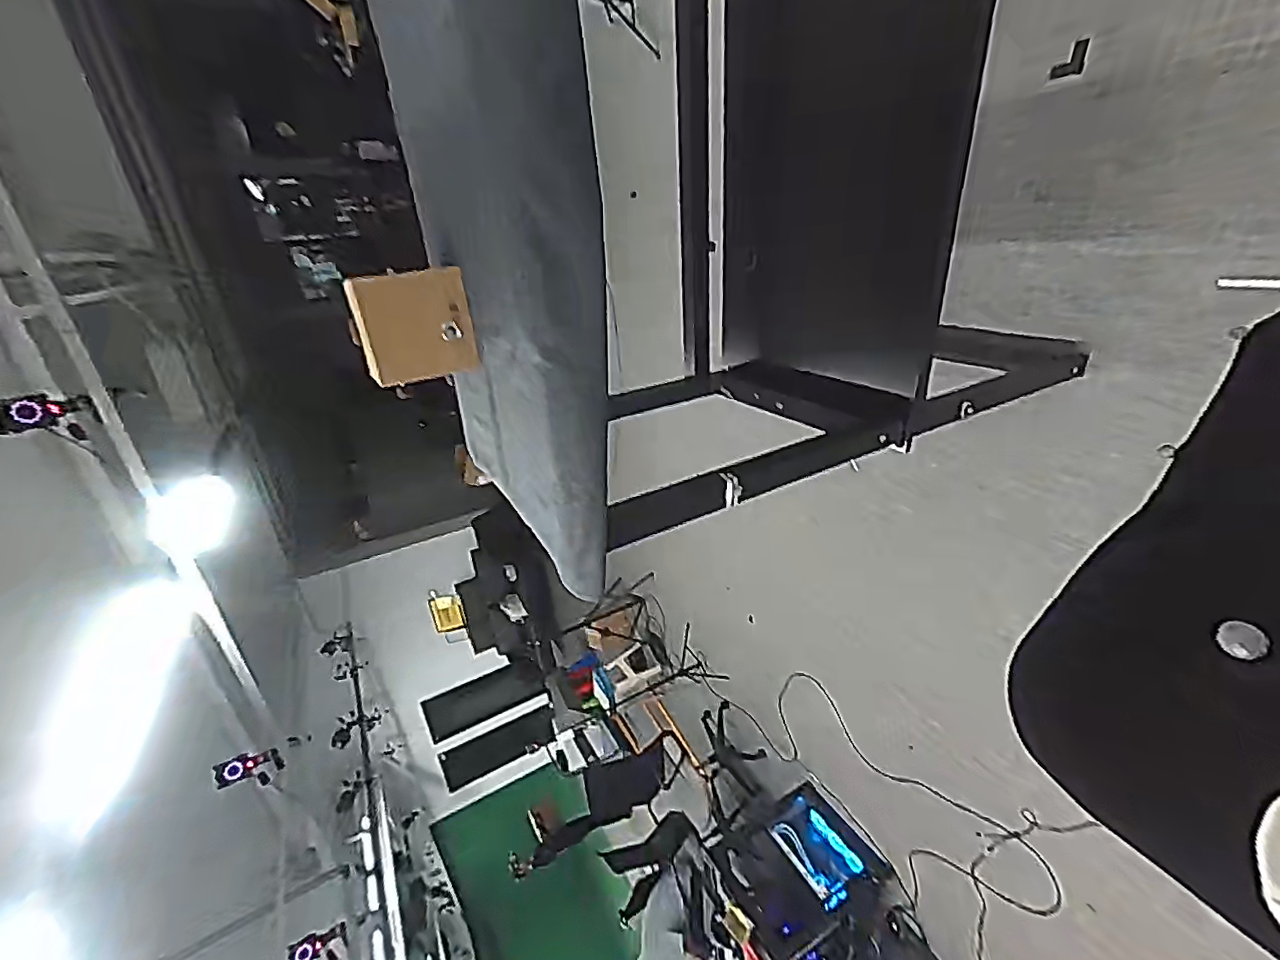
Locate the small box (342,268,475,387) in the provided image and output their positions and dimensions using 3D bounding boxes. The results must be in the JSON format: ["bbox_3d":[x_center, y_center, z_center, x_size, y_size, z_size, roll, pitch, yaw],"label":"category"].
[{"bbox_3d":[-0.398,-0.268,0.937,0.179,0.176,0.168,29,132,56],"label":"small box"}]
